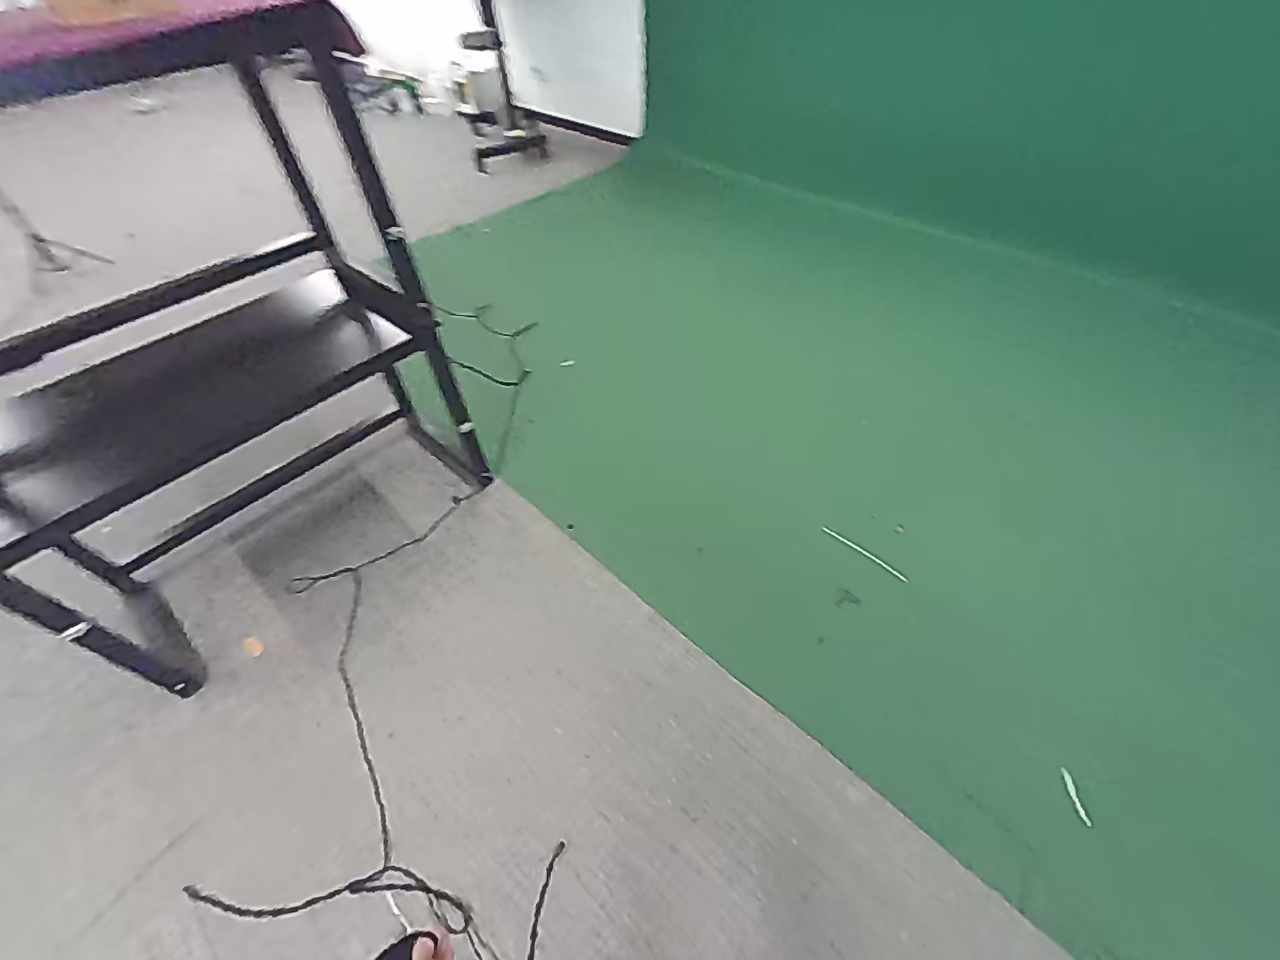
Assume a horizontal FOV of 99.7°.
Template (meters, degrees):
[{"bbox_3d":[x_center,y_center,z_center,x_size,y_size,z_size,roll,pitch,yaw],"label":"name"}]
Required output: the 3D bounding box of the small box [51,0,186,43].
[{"bbox_3d":[-0.971,-0.914,0.974,0.168,0.176,0.179,32,56,30],"label":"small box"}]
